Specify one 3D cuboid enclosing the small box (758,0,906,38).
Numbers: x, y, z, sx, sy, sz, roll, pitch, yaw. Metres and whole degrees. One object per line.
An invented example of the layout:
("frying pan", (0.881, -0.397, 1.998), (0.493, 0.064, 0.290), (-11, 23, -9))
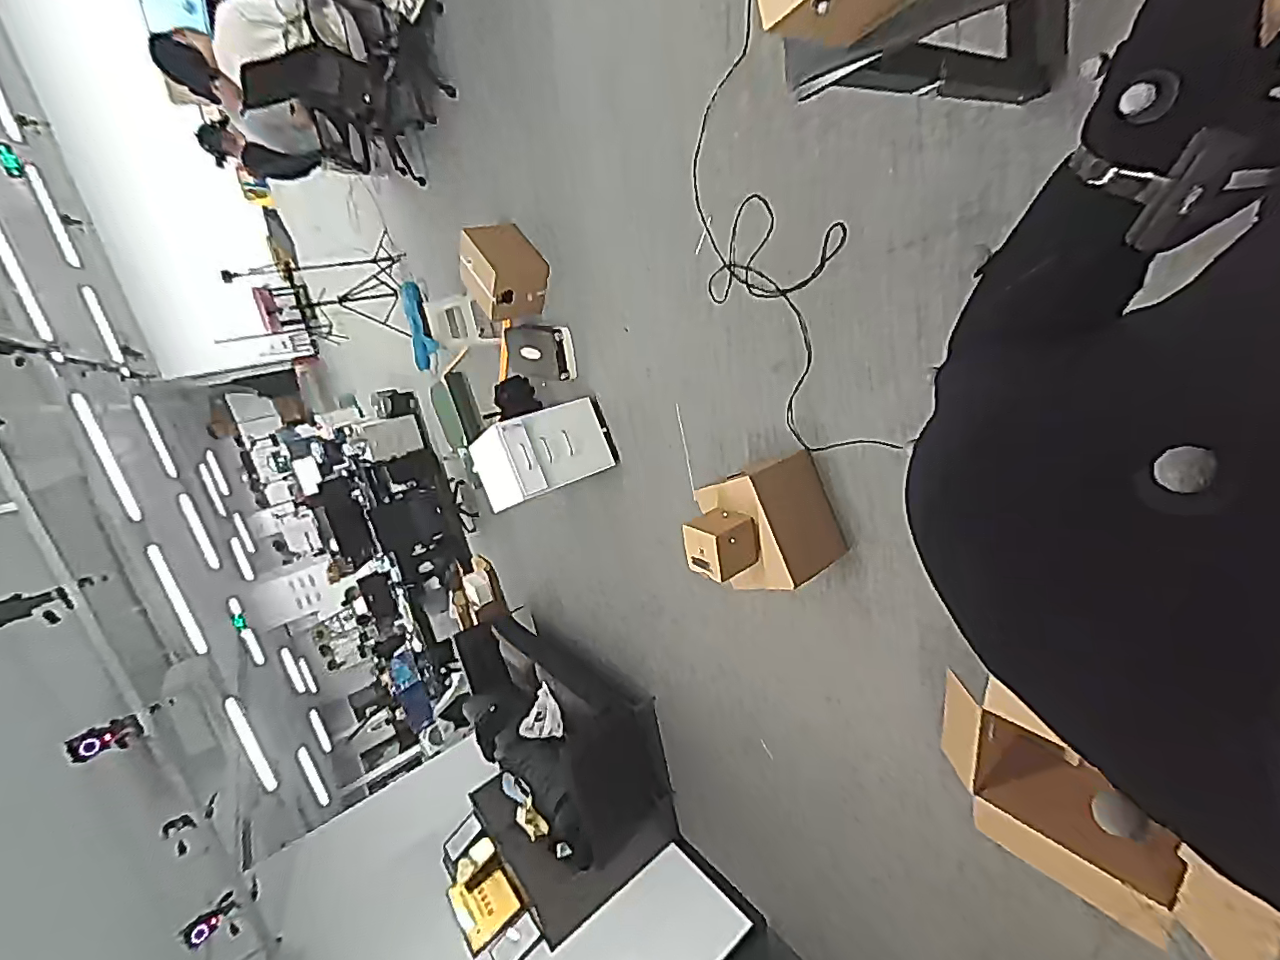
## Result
("small box", (0.235, -0.636, 0.595), (0.168, 0.176, 0.179), (3, 112, 55))
